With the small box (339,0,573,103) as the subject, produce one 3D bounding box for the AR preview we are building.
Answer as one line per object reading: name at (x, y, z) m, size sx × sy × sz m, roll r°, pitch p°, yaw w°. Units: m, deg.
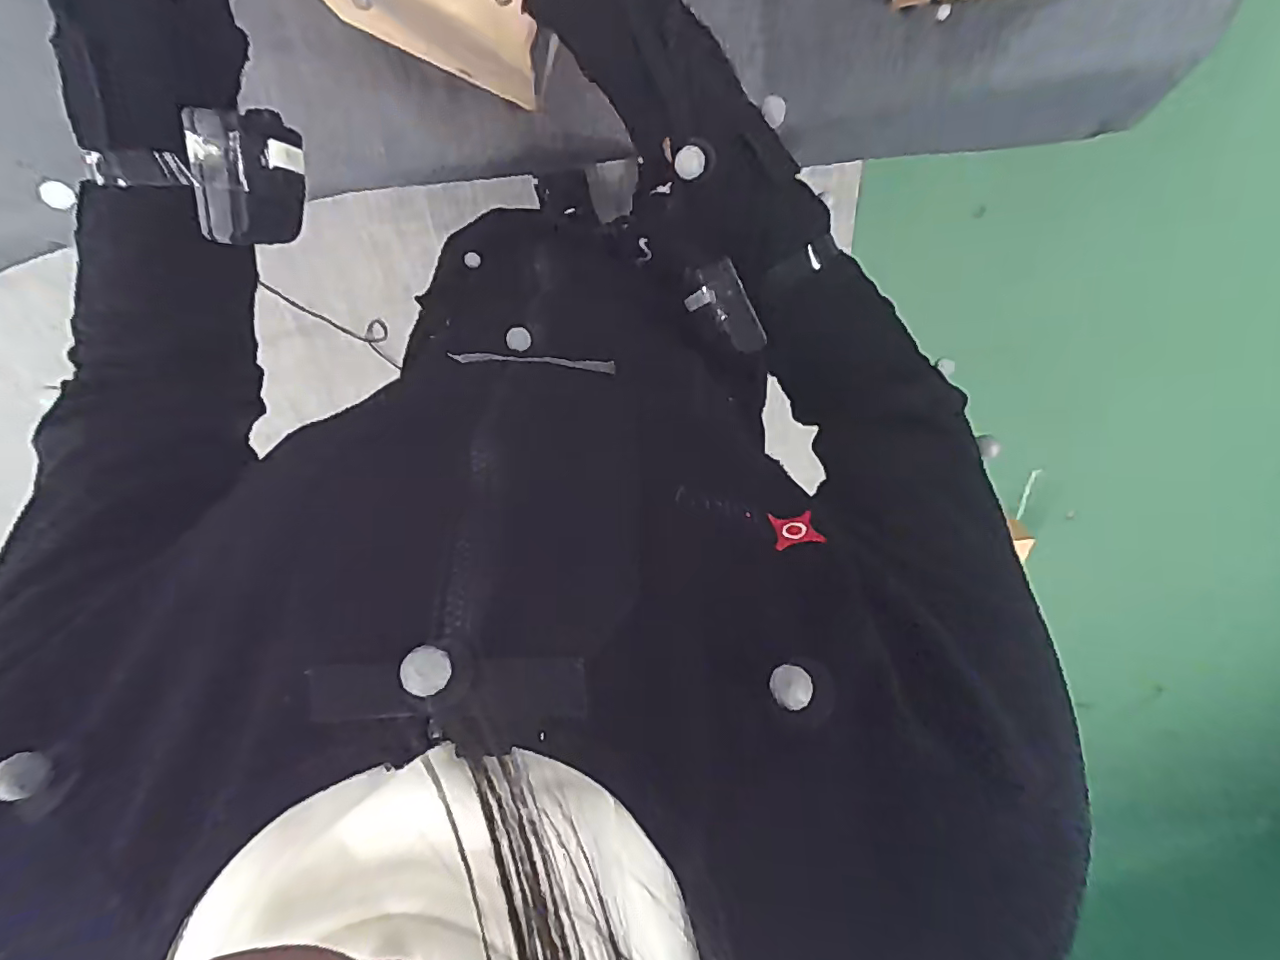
small box at (-0.116, -0.381, 0.336) m, size 0.168 × 0.176 × 0.179 m, roll 16°, pitch 109°, yaw -15°
